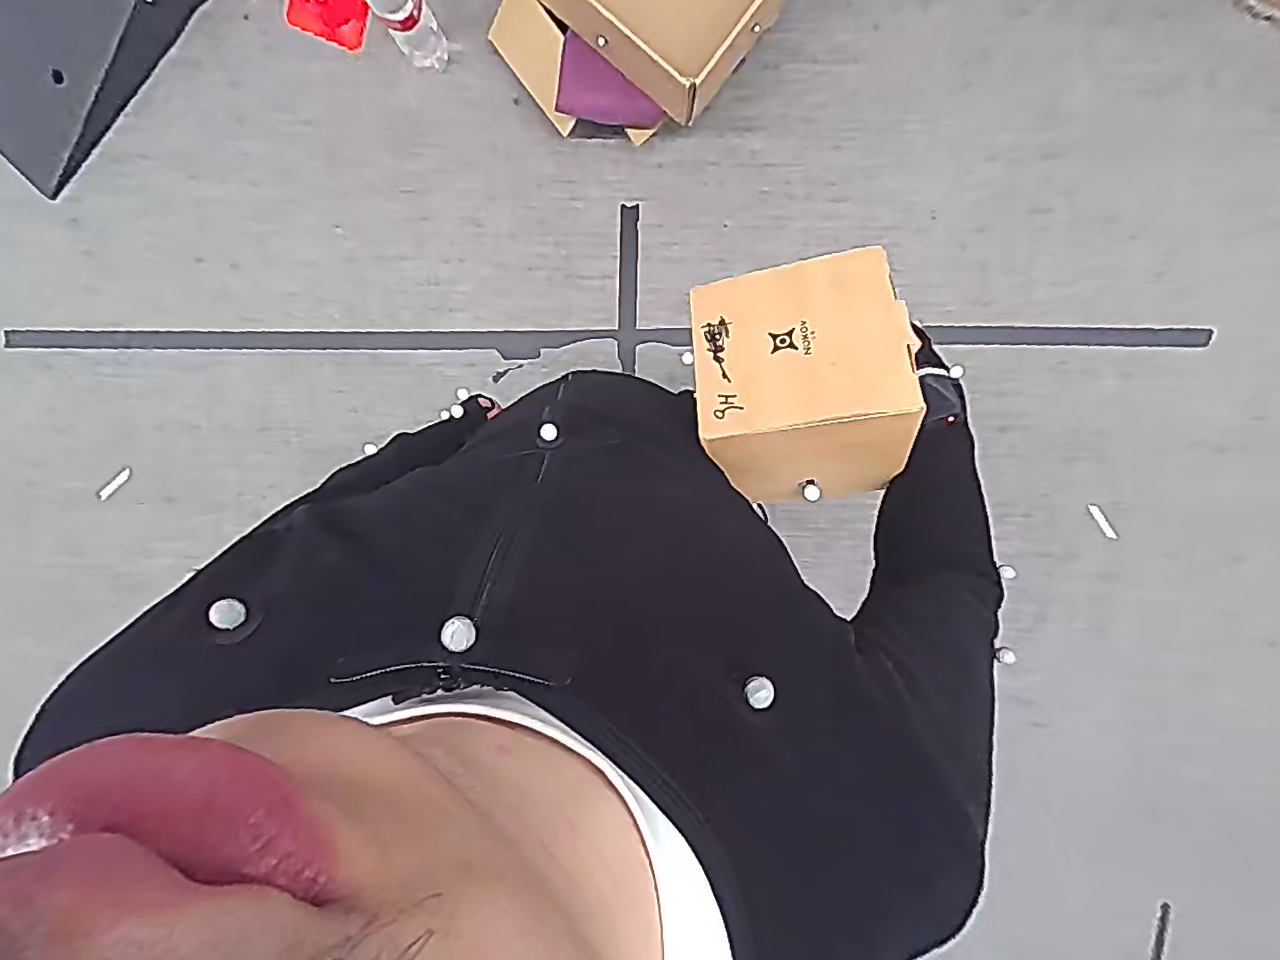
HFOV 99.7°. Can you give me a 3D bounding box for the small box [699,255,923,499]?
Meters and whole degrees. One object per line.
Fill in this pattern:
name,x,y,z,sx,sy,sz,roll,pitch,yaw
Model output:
small box,0.161,-0.090,0.548,0.179,0.176,0.168,-7,65,14
